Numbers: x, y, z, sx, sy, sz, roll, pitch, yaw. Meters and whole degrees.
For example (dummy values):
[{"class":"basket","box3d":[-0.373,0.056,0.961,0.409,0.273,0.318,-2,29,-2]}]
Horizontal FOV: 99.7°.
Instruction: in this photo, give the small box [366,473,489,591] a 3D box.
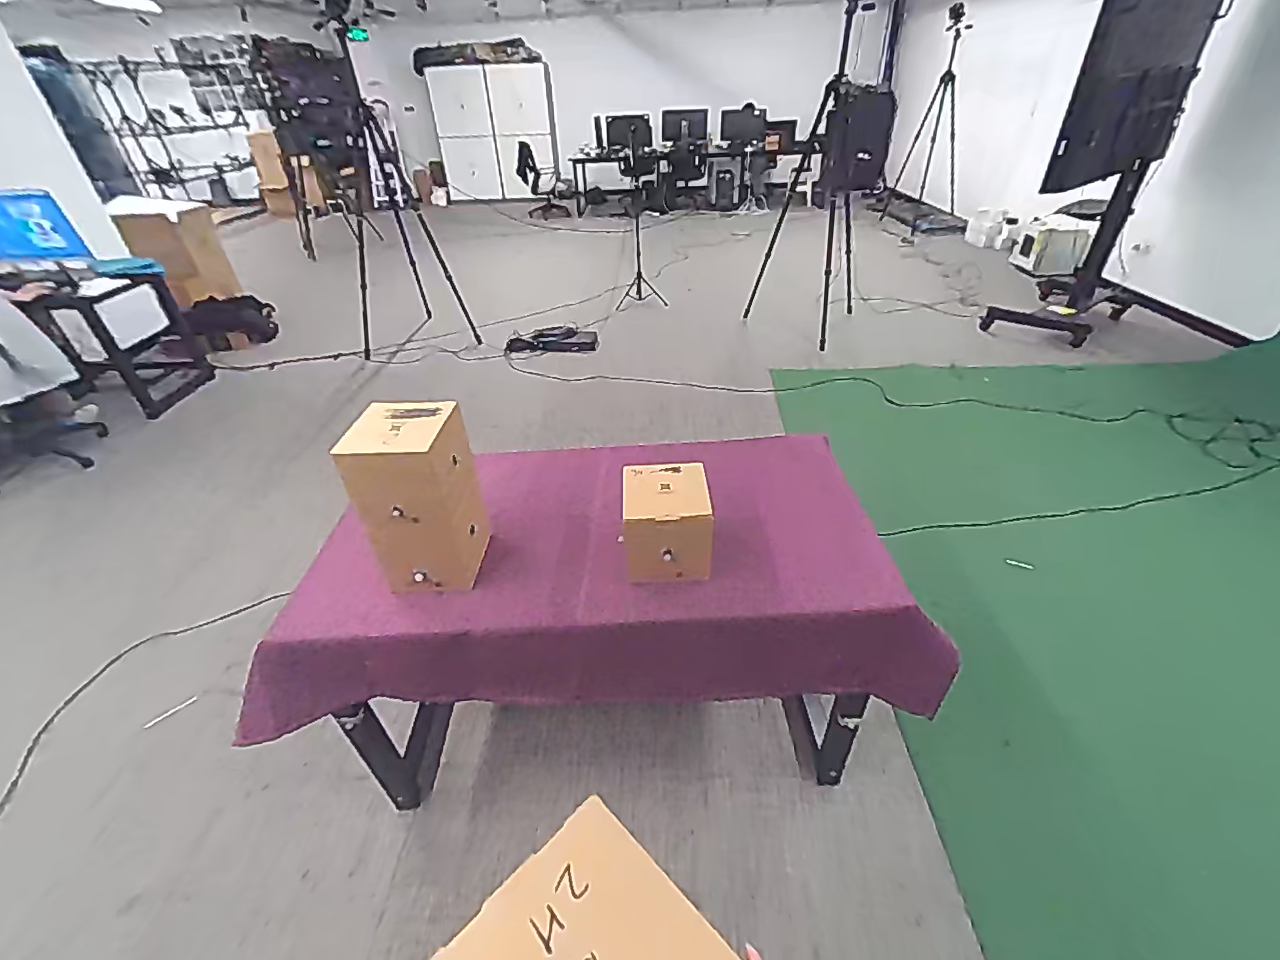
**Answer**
[{"class":"small box","box3d":[-0.414,0.103,1.090,0.168,0.176,0.179,-1,37,2]}]

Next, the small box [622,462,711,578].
[{"class":"small box","box3d":[0.052,0.084,1.087,0.168,0.176,0.179,-2,37,0]}]
